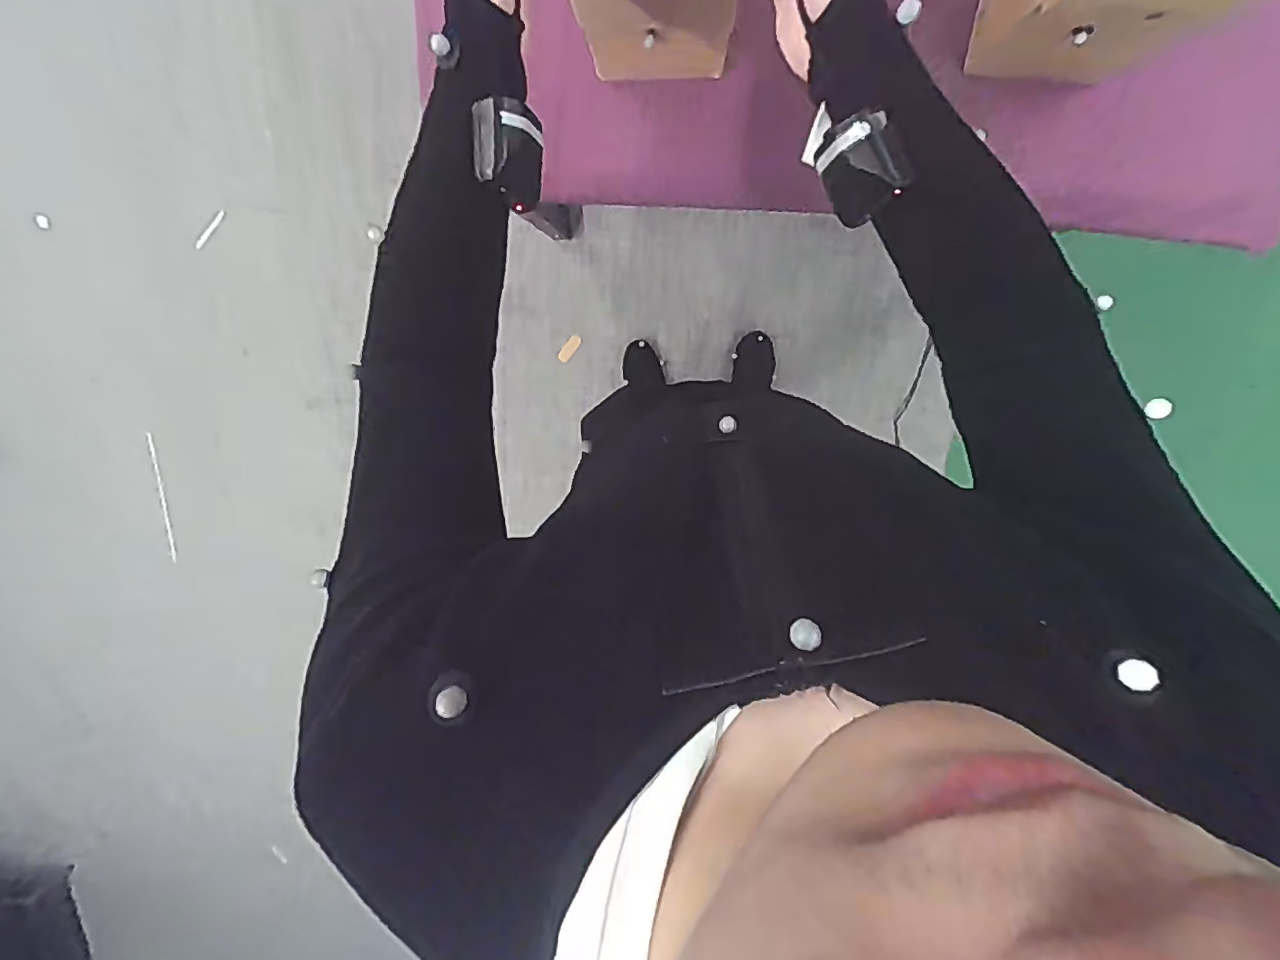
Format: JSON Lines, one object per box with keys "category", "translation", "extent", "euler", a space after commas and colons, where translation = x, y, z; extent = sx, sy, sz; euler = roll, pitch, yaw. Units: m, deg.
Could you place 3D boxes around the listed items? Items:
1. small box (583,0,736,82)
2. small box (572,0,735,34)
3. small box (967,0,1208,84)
{"category": "small box", "translation": [0.026, -0.620, 0.665], "extent": [0.179, 0.176, 0.168], "euler": [2, 106, 4]}
{"category": "small box", "translation": [0.016, -0.560, 0.510], "extent": [0.179, 0.176, 0.168], "euler": [3, 106, 3]}
{"category": "small box", "translation": [0.523, -0.595, 0.631], "extent": [0.179, 0.176, 0.168], "euler": [6, 106, 2]}
